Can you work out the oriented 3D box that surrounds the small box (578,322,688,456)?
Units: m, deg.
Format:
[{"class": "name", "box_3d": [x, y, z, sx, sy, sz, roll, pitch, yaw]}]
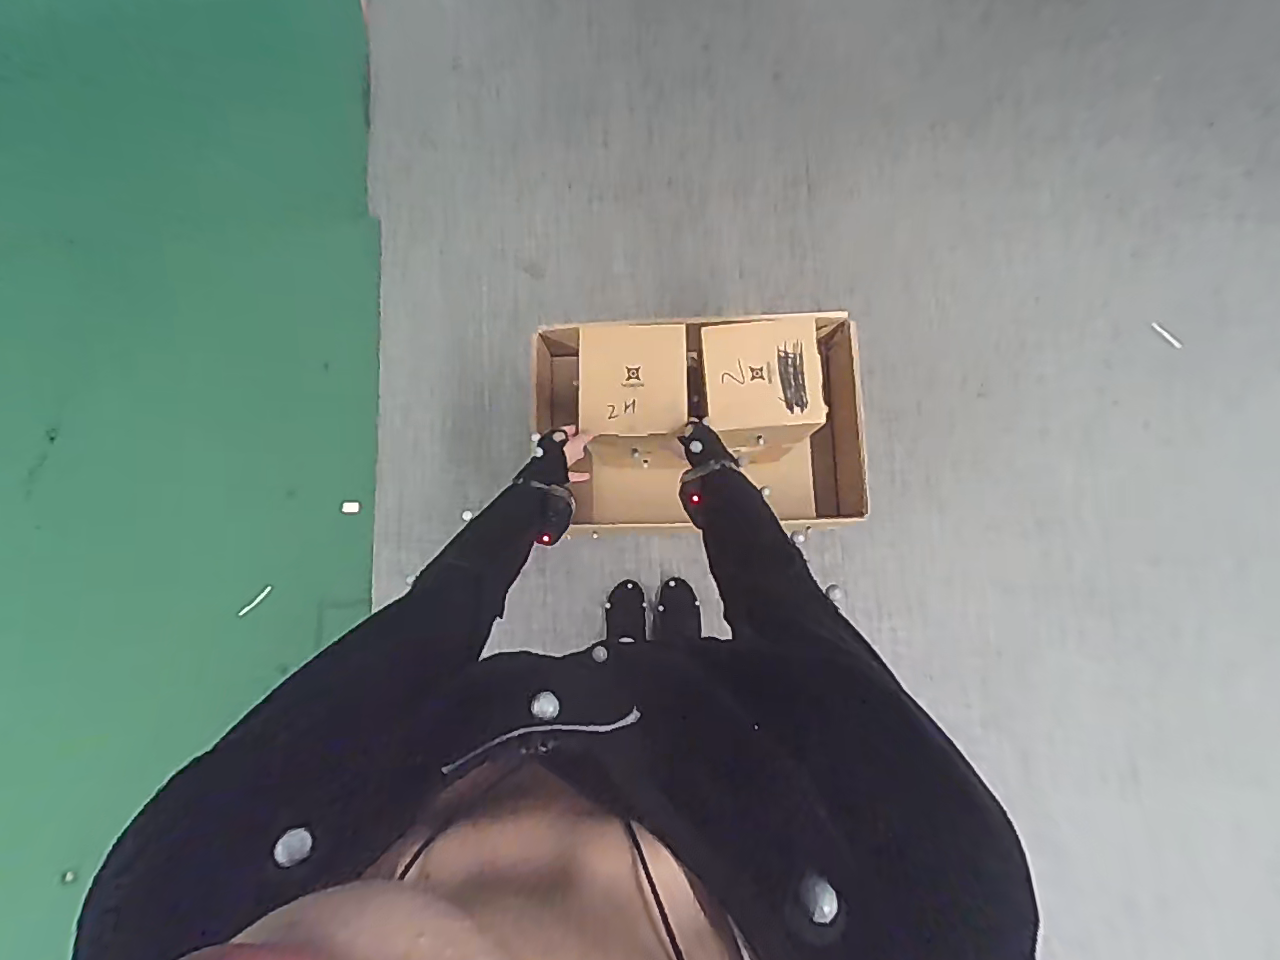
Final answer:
[{"class": "small box", "box_3d": [-0.008, -0.142, 0.890, 0.168, 0.176, 0.179, 0, 82, 2]}]
